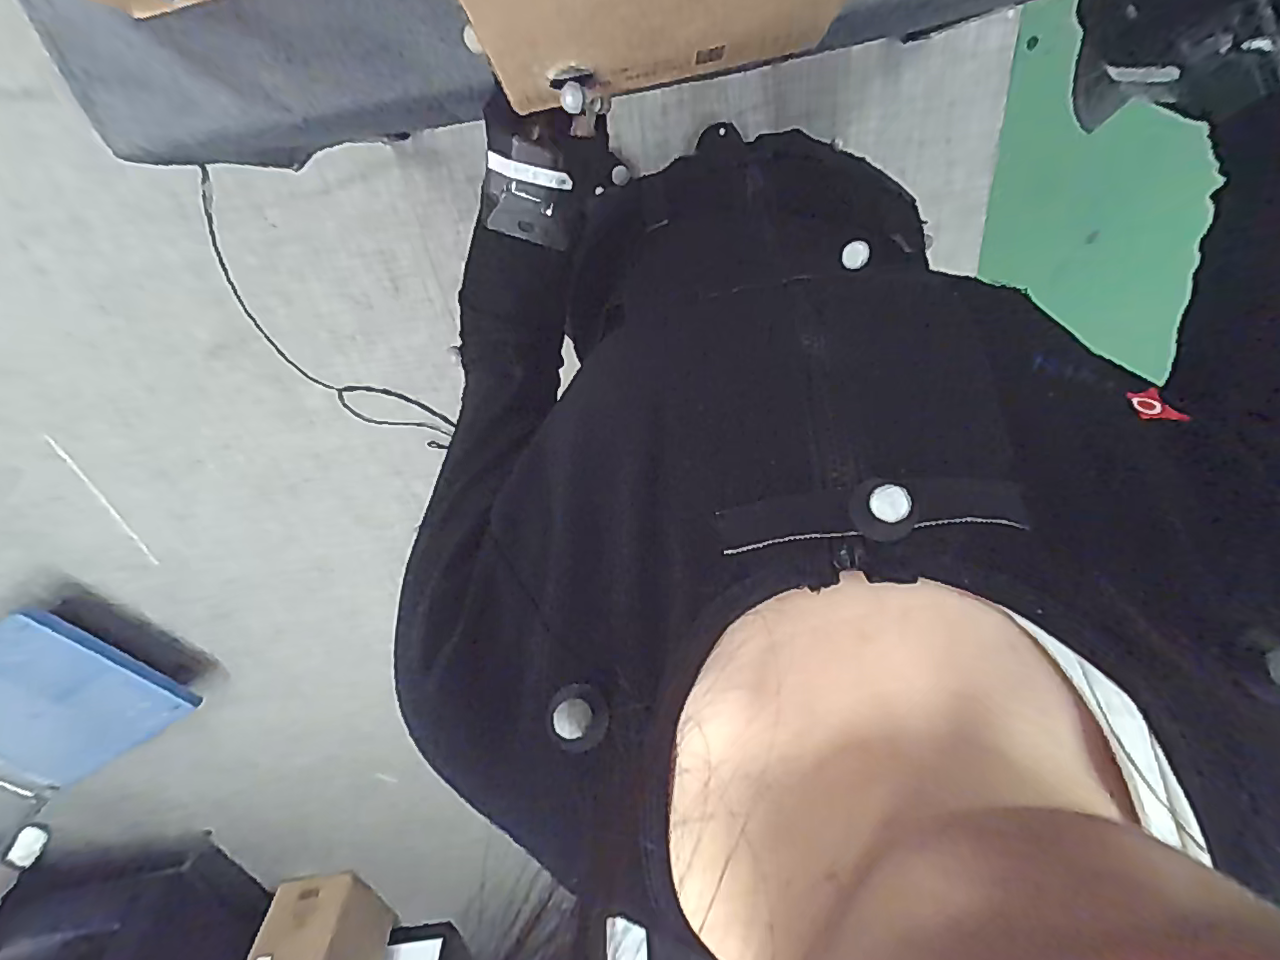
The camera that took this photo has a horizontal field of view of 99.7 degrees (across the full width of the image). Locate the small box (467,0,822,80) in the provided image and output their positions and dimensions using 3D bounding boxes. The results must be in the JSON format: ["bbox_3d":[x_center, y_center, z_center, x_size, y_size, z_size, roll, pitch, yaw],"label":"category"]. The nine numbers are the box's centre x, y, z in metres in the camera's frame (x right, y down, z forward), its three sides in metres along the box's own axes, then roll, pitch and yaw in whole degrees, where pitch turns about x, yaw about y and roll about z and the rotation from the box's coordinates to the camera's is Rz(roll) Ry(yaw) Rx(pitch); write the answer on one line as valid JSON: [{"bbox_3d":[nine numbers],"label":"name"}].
[{"bbox_3d":[-0.003,-0.275,0.185,0.168,0.176,0.179,-12,104,2],"label":"small box"}]
